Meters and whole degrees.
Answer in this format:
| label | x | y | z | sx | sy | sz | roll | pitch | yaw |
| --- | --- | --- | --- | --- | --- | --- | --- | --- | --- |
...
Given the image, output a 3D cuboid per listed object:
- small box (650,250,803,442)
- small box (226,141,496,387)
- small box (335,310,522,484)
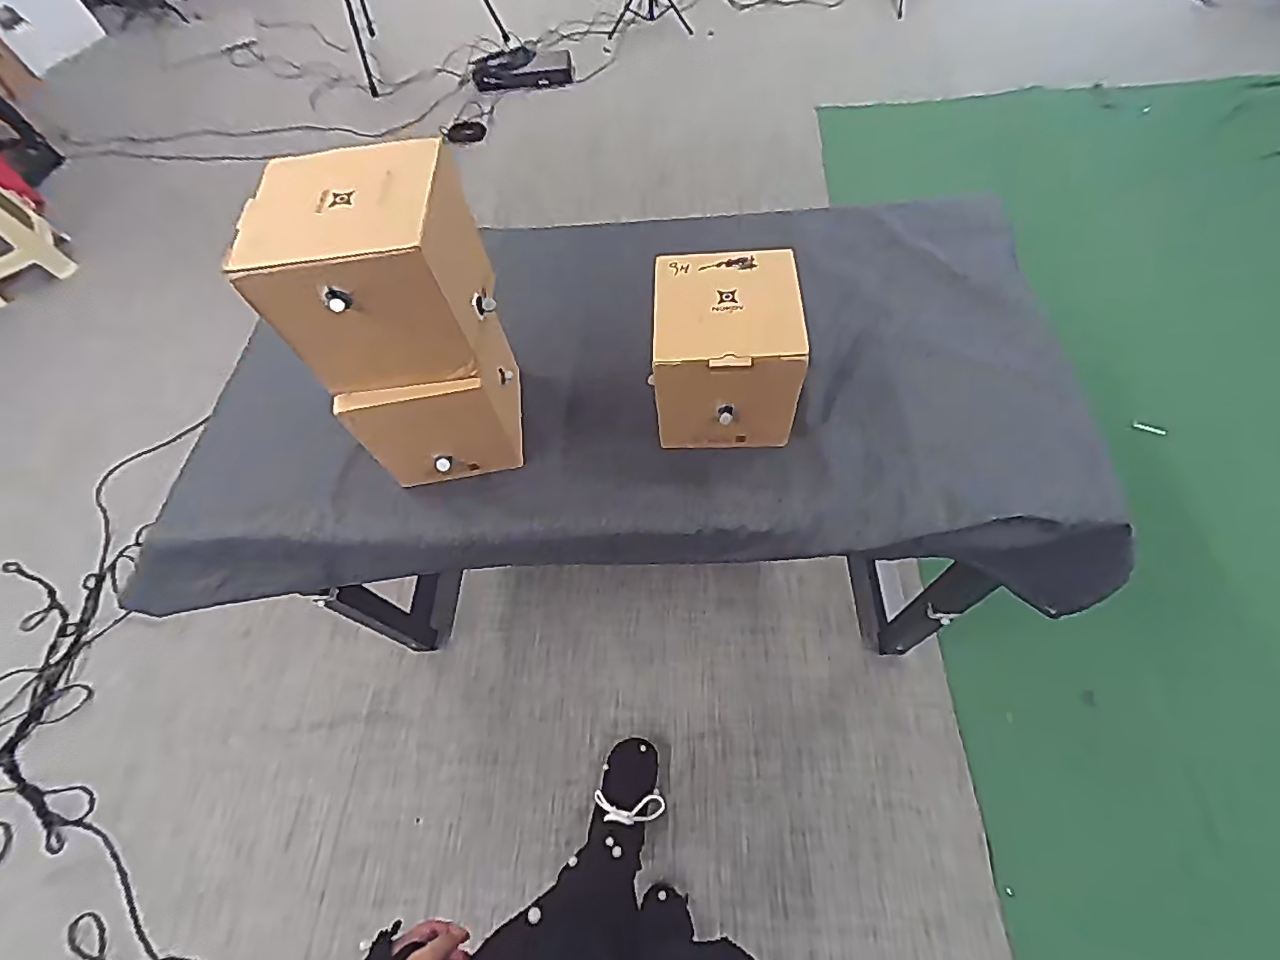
| label | x | y | z | sx | sy | sz | roll | pitch | yaw |
| --- | --- | --- | --- | --- | --- | --- | --- | --- | --- |
| small box | 0.103 | -0.159 | 0.683 | 0.168 | 0.176 | 0.179 | -1 | 60 | 5 |
| small box | -0.264 | -0.213 | 0.561 | 0.179 | 0.176 | 0.168 | -6 | 61 | 1 |
| small box | -0.254 | -0.118 | 0.693 | 0.168 | 0.176 | 0.179 | -10 | 60 | 0 |
